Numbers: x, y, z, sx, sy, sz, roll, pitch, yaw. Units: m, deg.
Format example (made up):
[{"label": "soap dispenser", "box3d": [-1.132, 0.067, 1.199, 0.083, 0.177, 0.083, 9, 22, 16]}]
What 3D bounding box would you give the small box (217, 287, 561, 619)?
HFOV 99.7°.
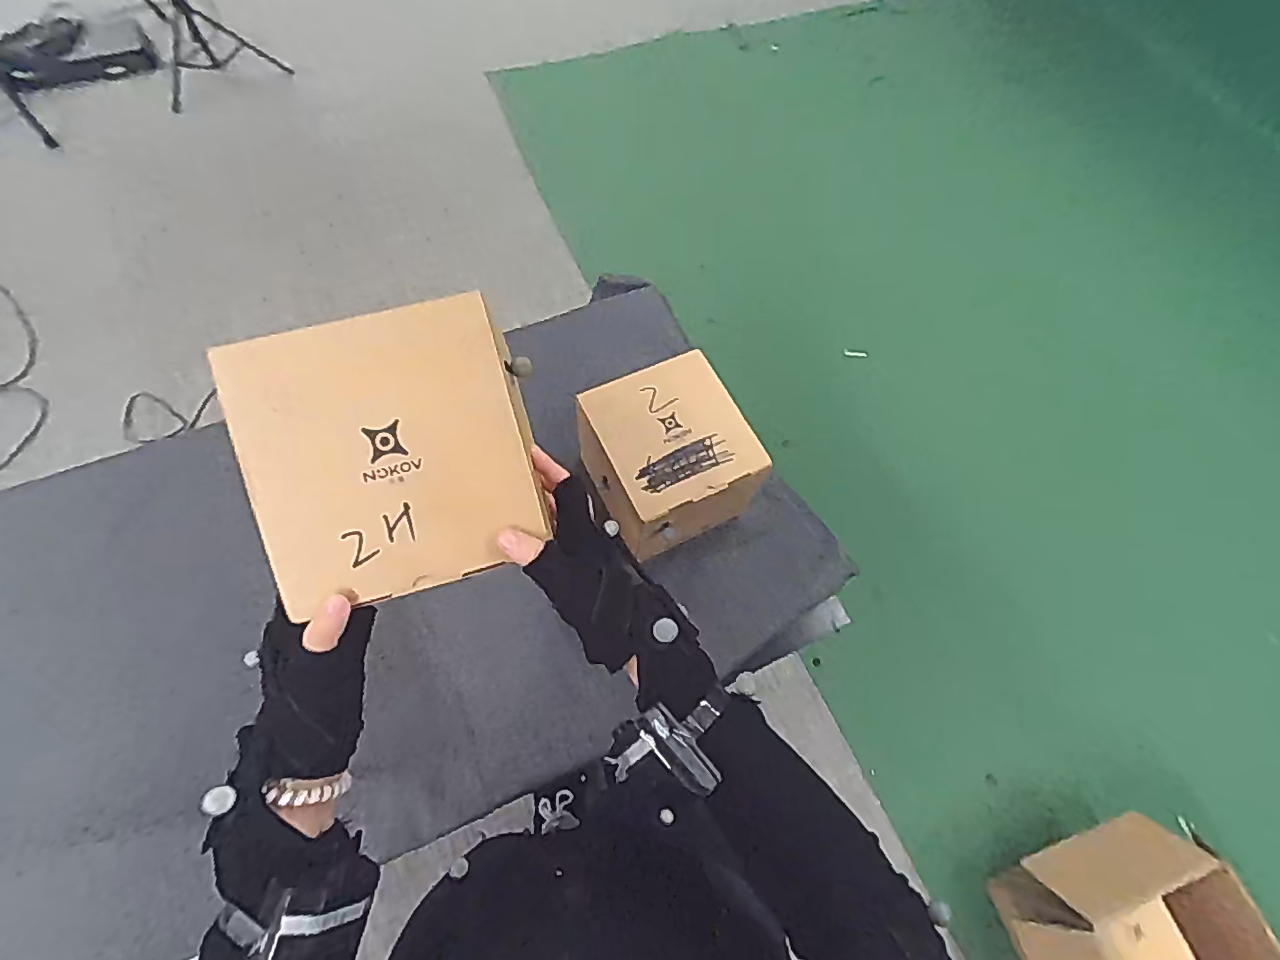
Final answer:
[{"label": "small box", "box3d": [-0.161, -0.020, 0.409, 0.168, 0.176, 0.179, -15, 94, -7]}]
